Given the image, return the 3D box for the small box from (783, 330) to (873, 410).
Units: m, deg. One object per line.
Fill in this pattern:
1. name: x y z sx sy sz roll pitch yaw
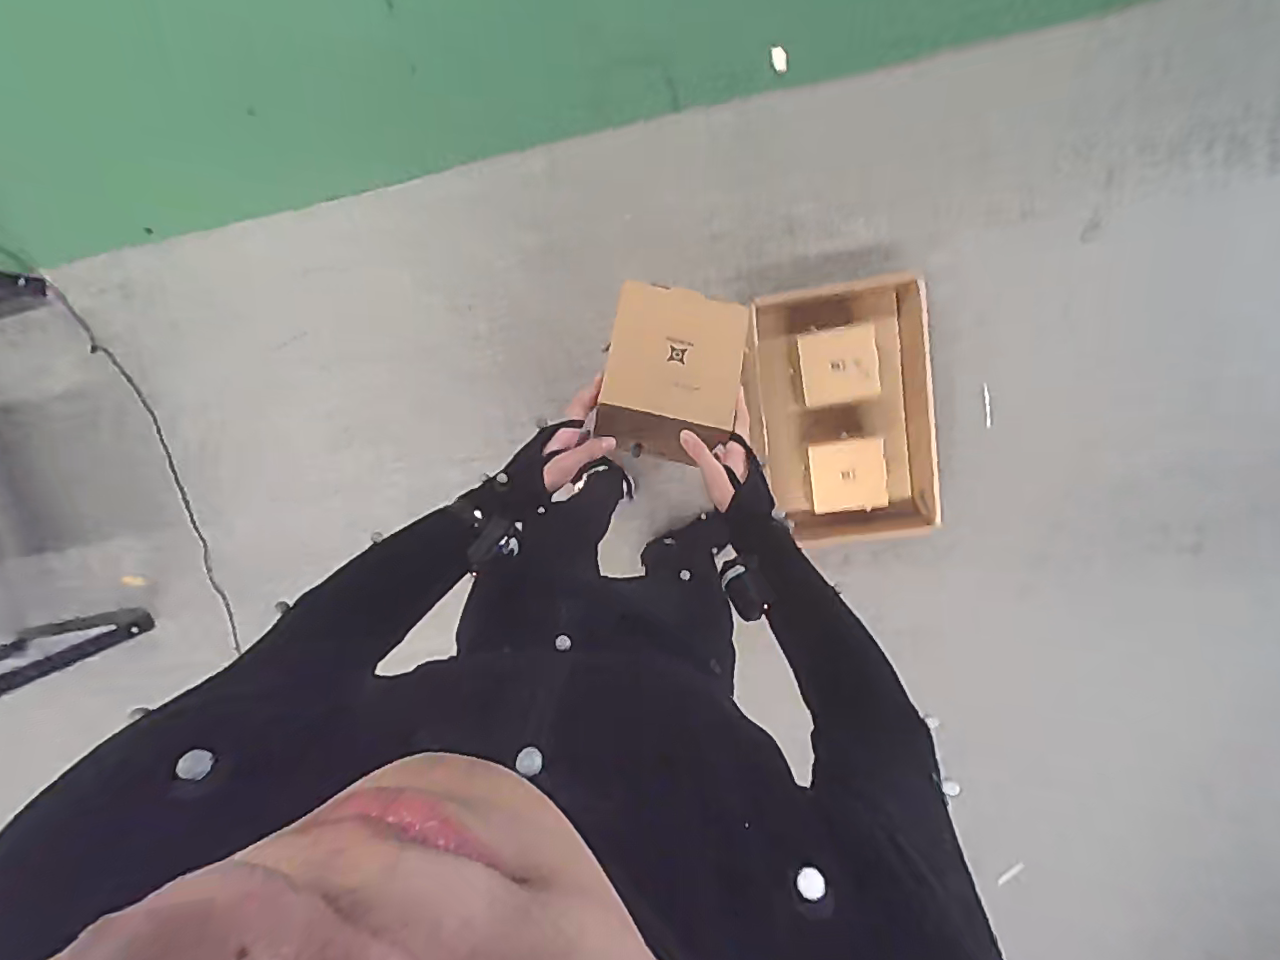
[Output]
1. small box: 0.457 -0.268 1.340 0.179 0.176 0.168 -8 100 7

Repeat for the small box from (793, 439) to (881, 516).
1. small box: 0.492 -0.010 1.376 0.179 0.176 0.168 -8 97 7

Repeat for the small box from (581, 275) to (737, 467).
1. small box: 0.018 -0.135 0.727 0.168 0.176 0.179 11 74 -6
